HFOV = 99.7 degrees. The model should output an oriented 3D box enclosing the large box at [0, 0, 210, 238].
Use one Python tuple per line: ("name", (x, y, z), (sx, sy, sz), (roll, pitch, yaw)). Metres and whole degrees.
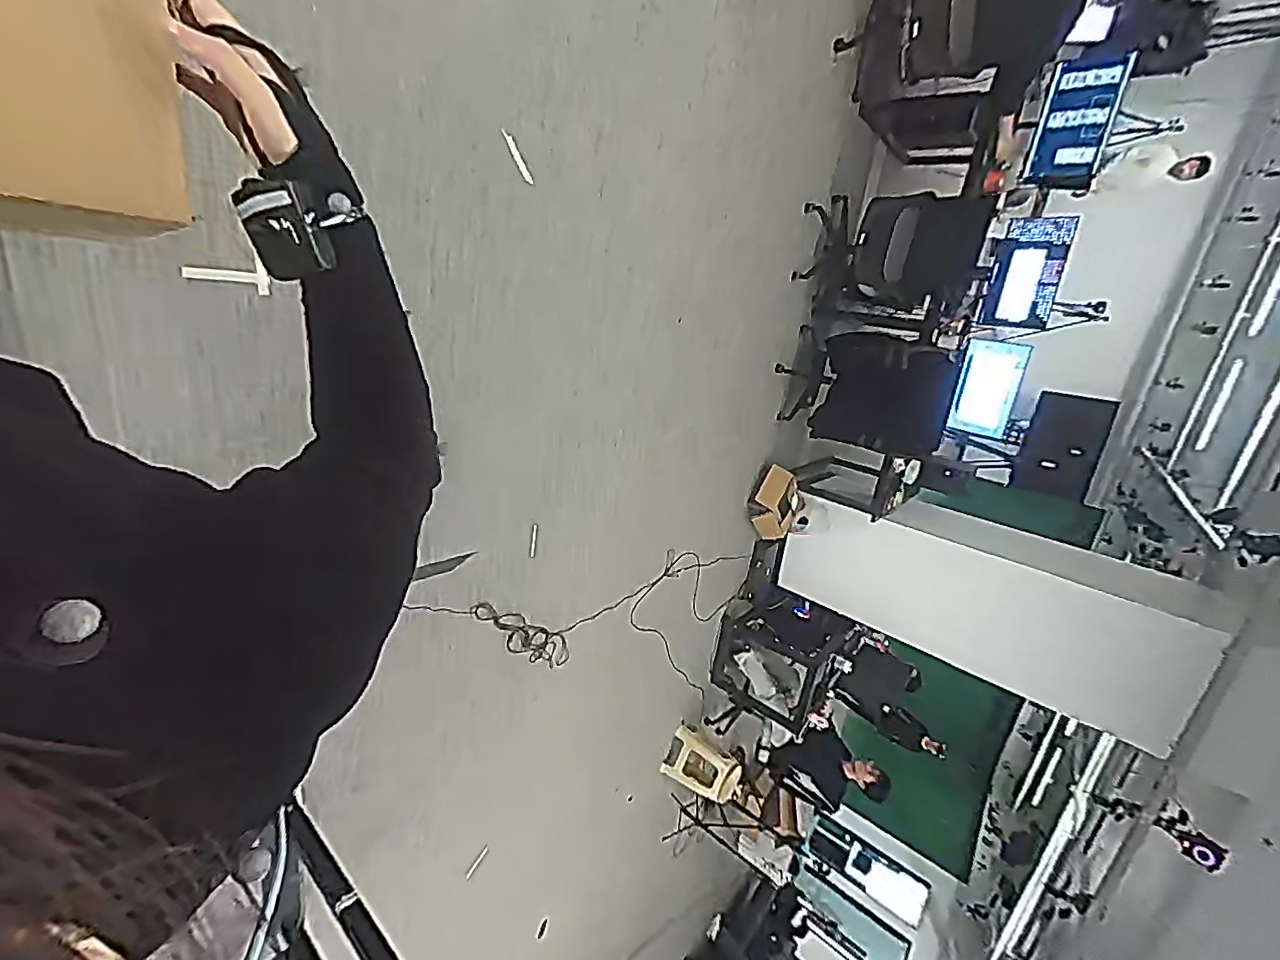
("large box", (-0.519, -0.318, 0.272), (0.408, 0.320, 0.320), (-13, 113, -47))
